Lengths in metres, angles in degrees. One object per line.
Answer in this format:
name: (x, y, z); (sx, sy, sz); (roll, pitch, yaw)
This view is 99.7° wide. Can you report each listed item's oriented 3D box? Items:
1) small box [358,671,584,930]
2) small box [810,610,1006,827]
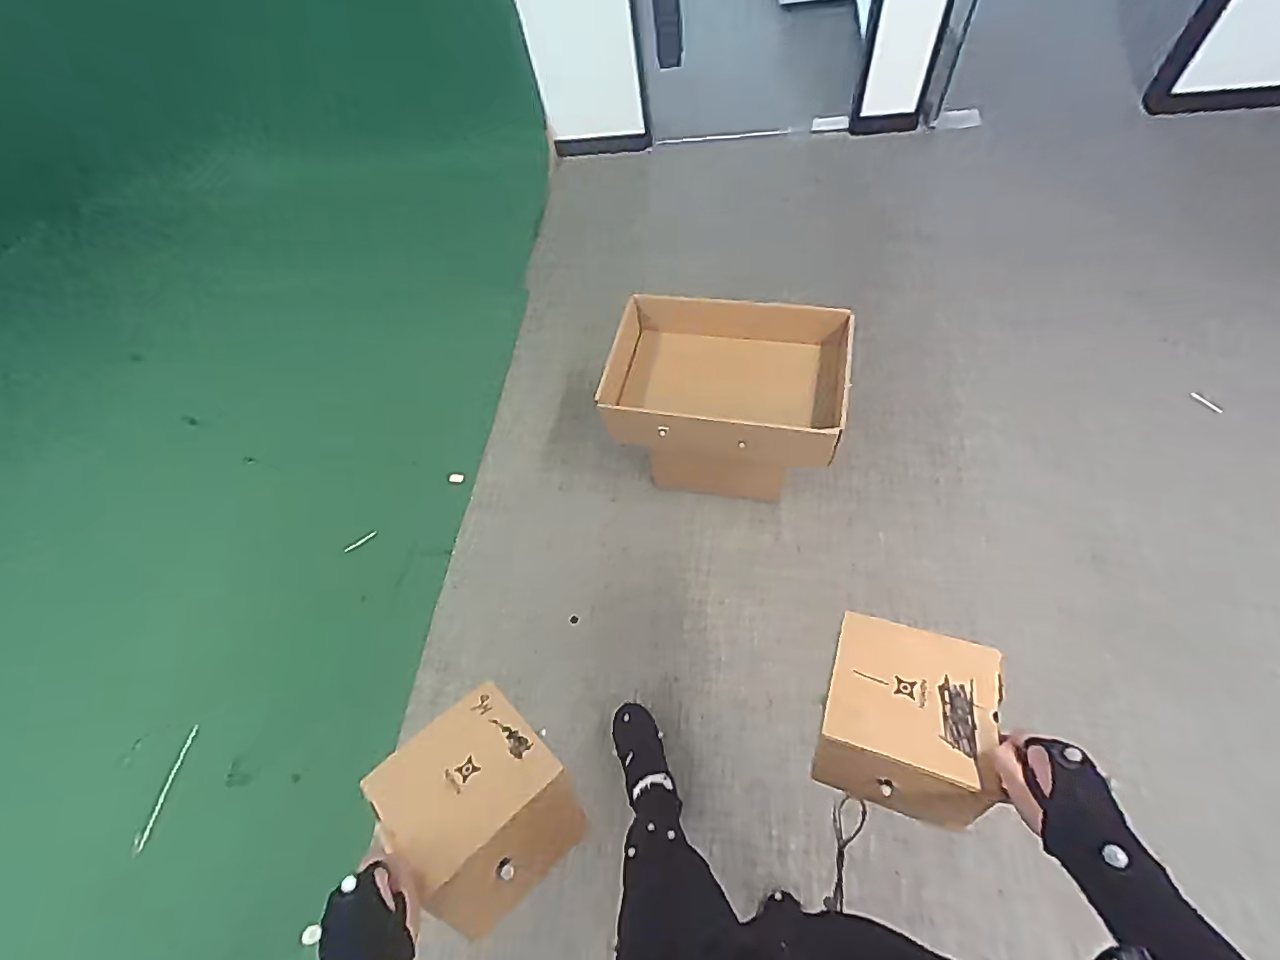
small box: (-0.190, 0.377, 0.643); (0.179, 0.176, 0.168); (-34, 45, -27)
small box: (0.317, 0.291, 0.657); (0.179, 0.176, 0.168); (12, 50, 23)
